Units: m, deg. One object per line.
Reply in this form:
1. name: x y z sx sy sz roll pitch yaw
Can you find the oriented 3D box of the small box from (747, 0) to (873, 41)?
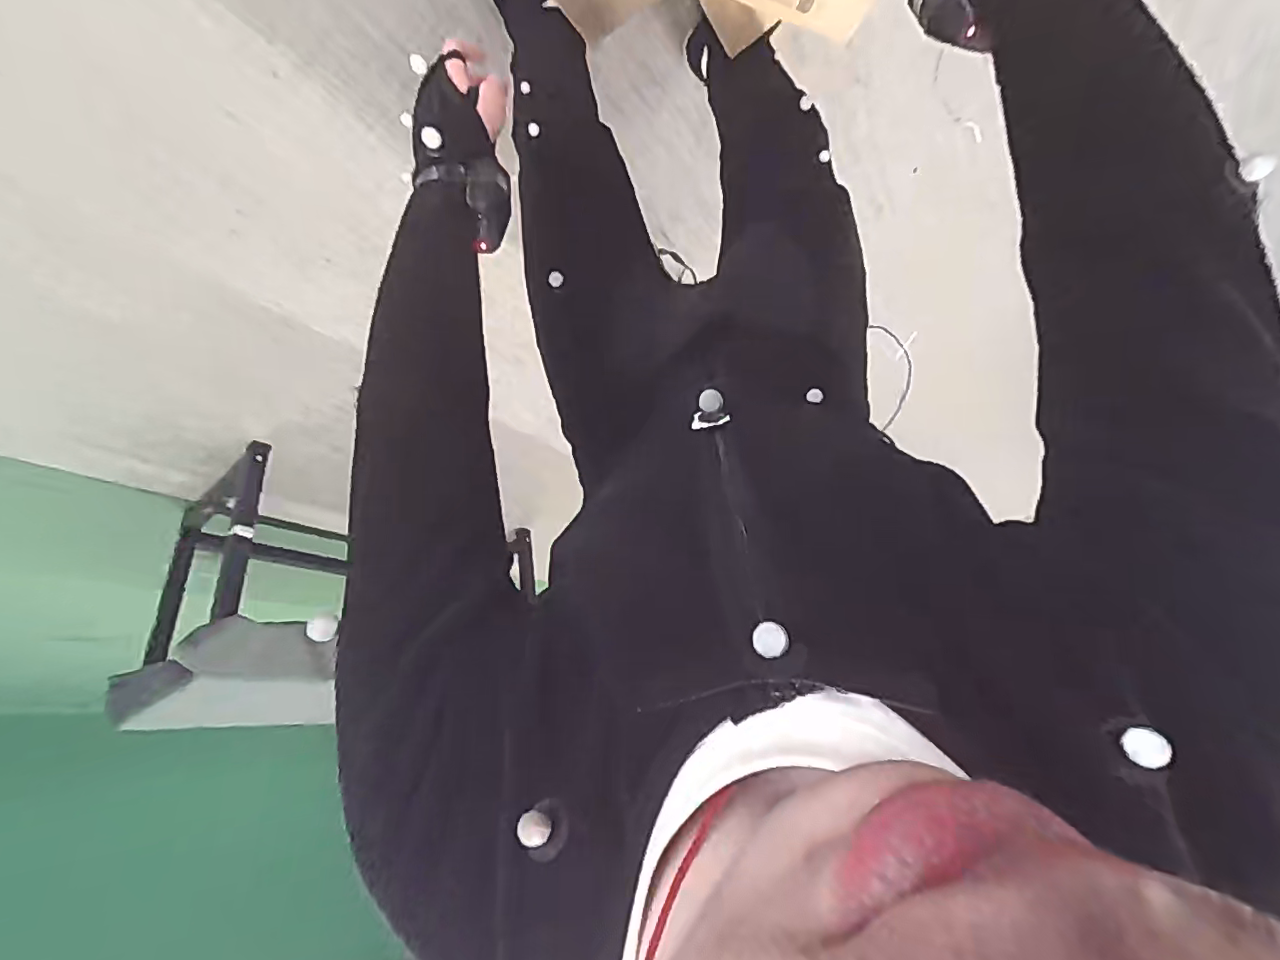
1. small box: 0.163 -0.553 0.483 0.168 0.179 0.176 8 163 -16
